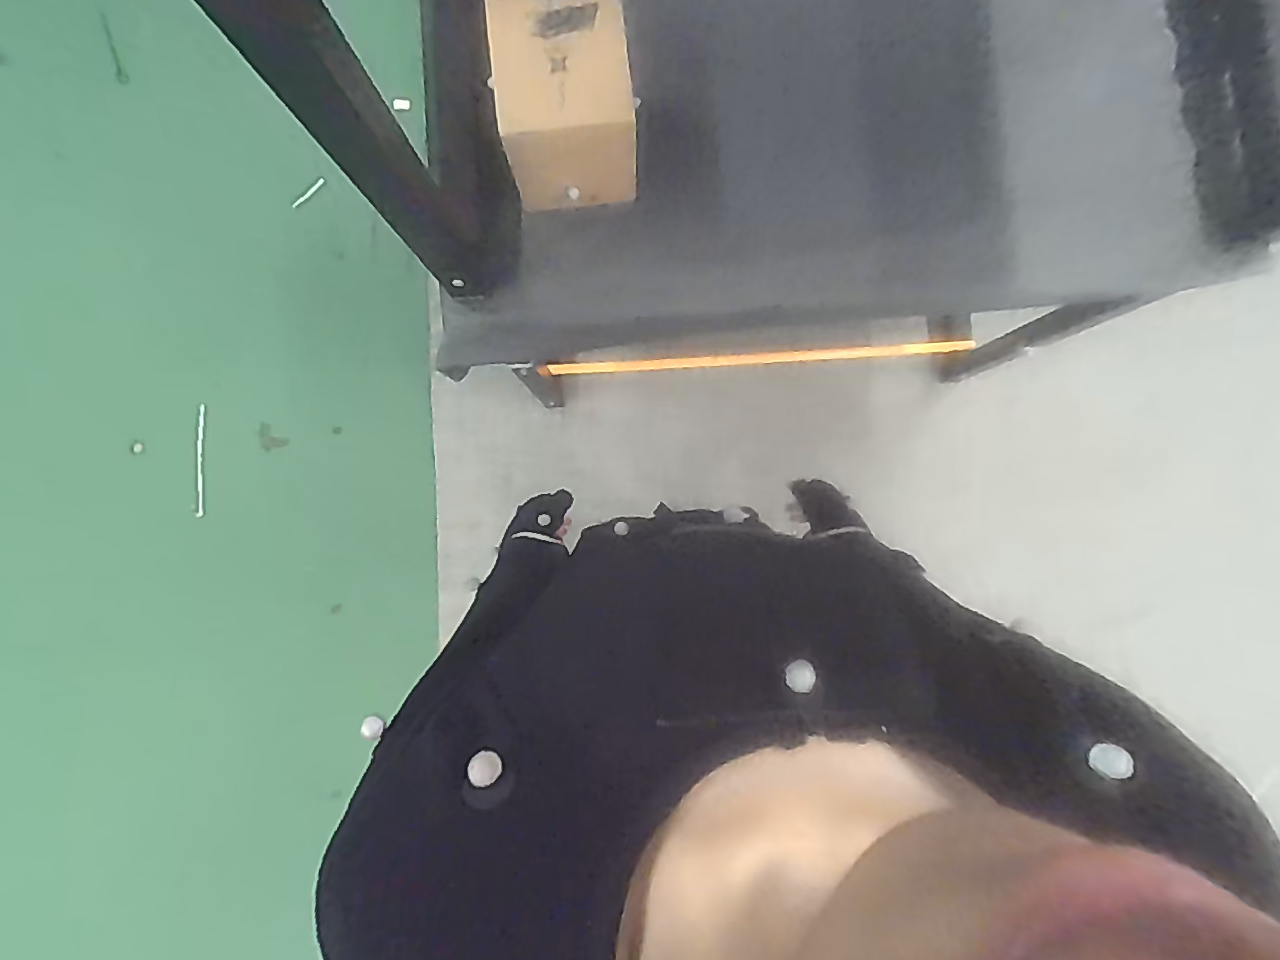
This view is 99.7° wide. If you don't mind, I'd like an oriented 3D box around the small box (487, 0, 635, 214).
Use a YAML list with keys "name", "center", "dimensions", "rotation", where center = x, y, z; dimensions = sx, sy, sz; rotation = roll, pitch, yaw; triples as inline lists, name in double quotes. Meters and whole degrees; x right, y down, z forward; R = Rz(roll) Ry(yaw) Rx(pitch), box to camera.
- name: "small box"
  center: [-0.097, -0.491, 0.726]
  dimensions: [0.168, 0.176, 0.179]
  rotation: [-6, 86, 0]
